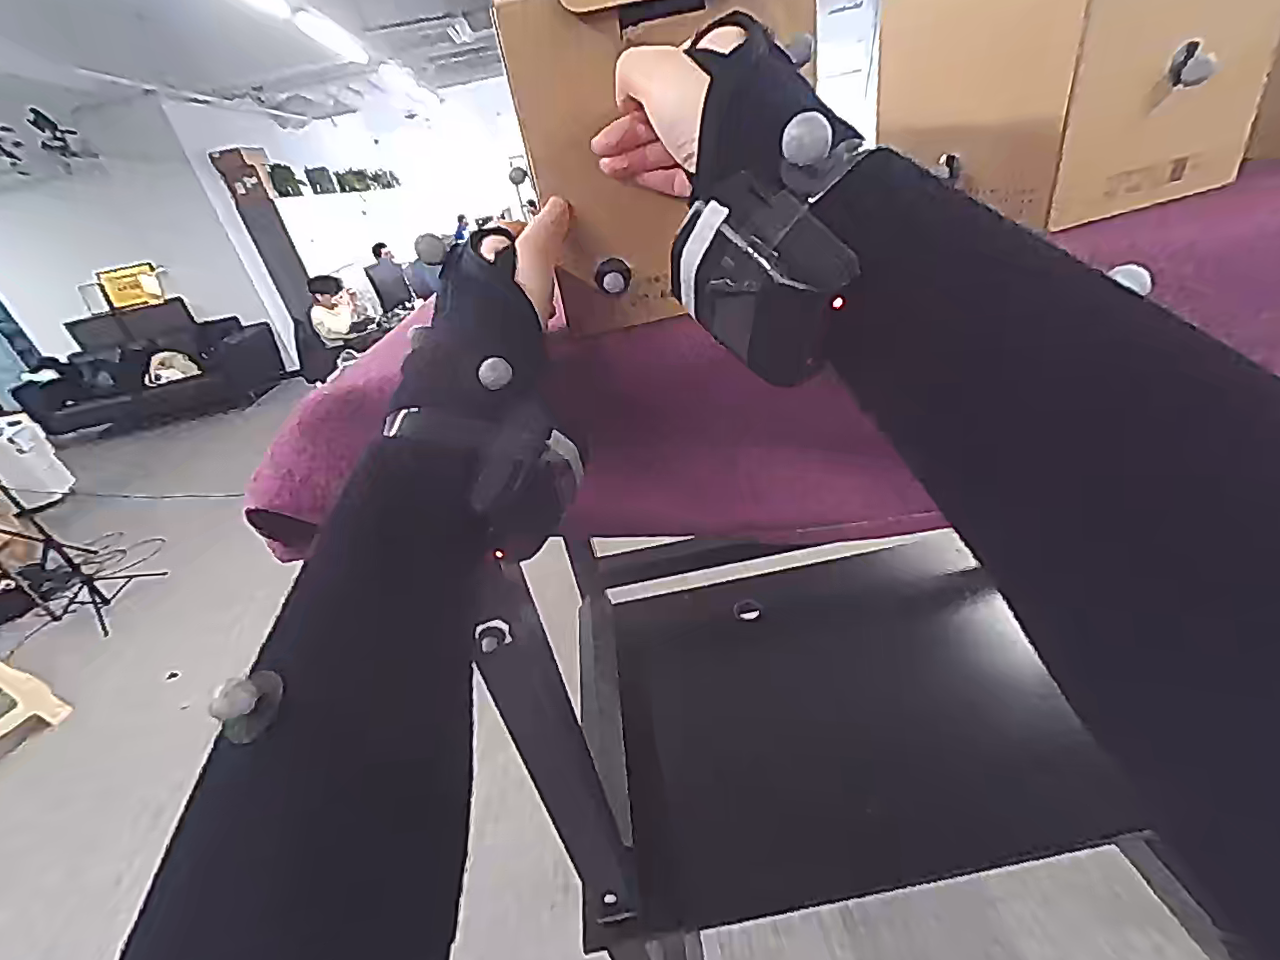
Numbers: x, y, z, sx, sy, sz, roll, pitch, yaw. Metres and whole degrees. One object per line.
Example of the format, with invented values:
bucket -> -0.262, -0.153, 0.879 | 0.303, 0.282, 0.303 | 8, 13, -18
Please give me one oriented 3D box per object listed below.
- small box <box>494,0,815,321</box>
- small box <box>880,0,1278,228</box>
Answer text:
small box -> 0.010, -0.218, 0.372 | 0.168, 0.176, 0.179 | -14, 29, -4
small box -> 0.301, -0.291, 0.394 | 0.168, 0.176, 0.179 | -17, 30, -9
